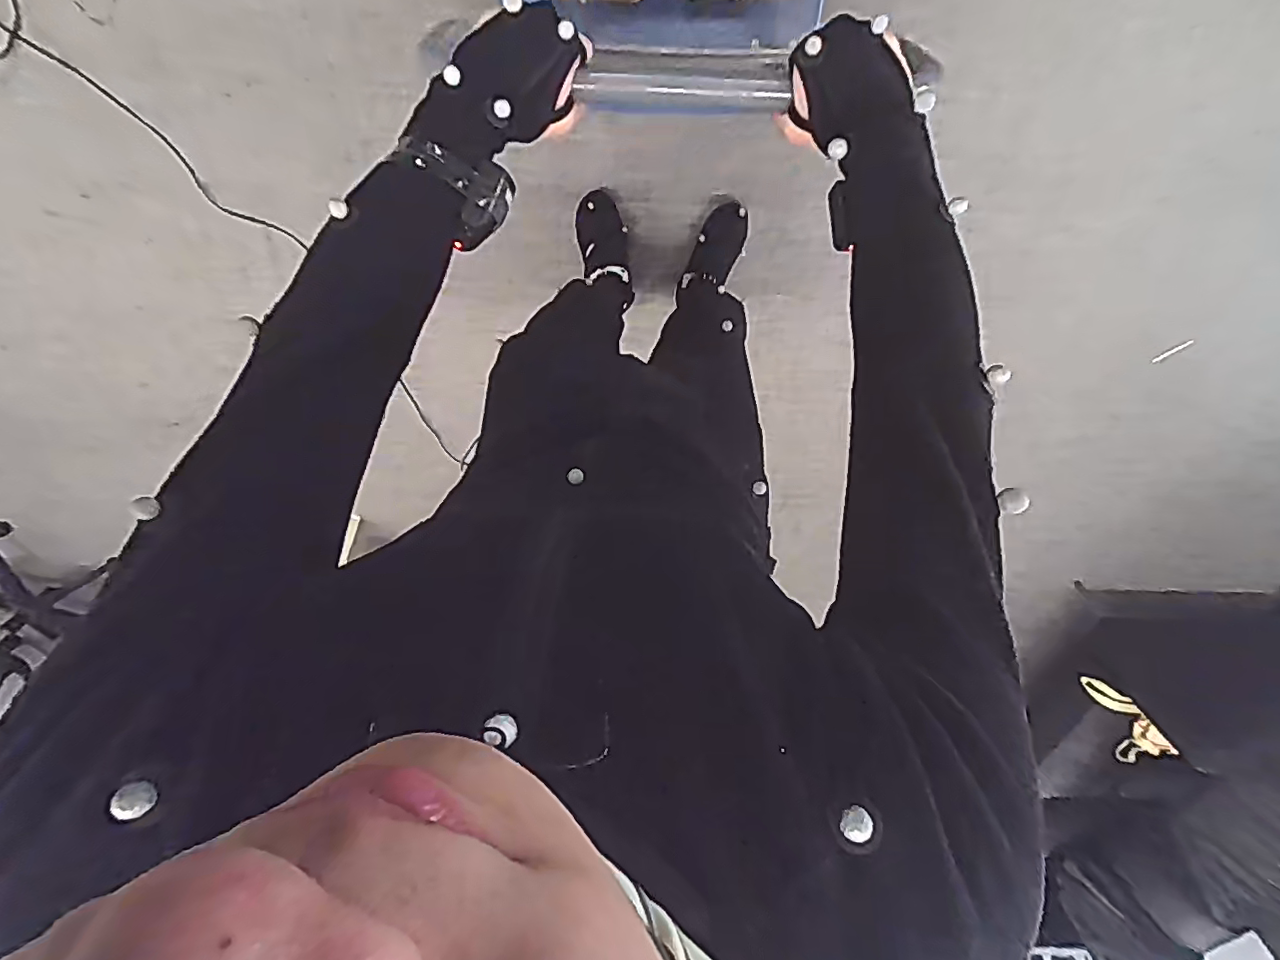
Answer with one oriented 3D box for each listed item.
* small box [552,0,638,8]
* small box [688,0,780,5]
[{"bbox_3d":[-0.080,-0.858,0.836,0.168,0.176,0.179,1,128,-3],"label":"small box"},{"bbox_3d":[0.162,-0.853,0.838,0.179,0.176,0.168,0,128,-1],"label":"small box"}]
